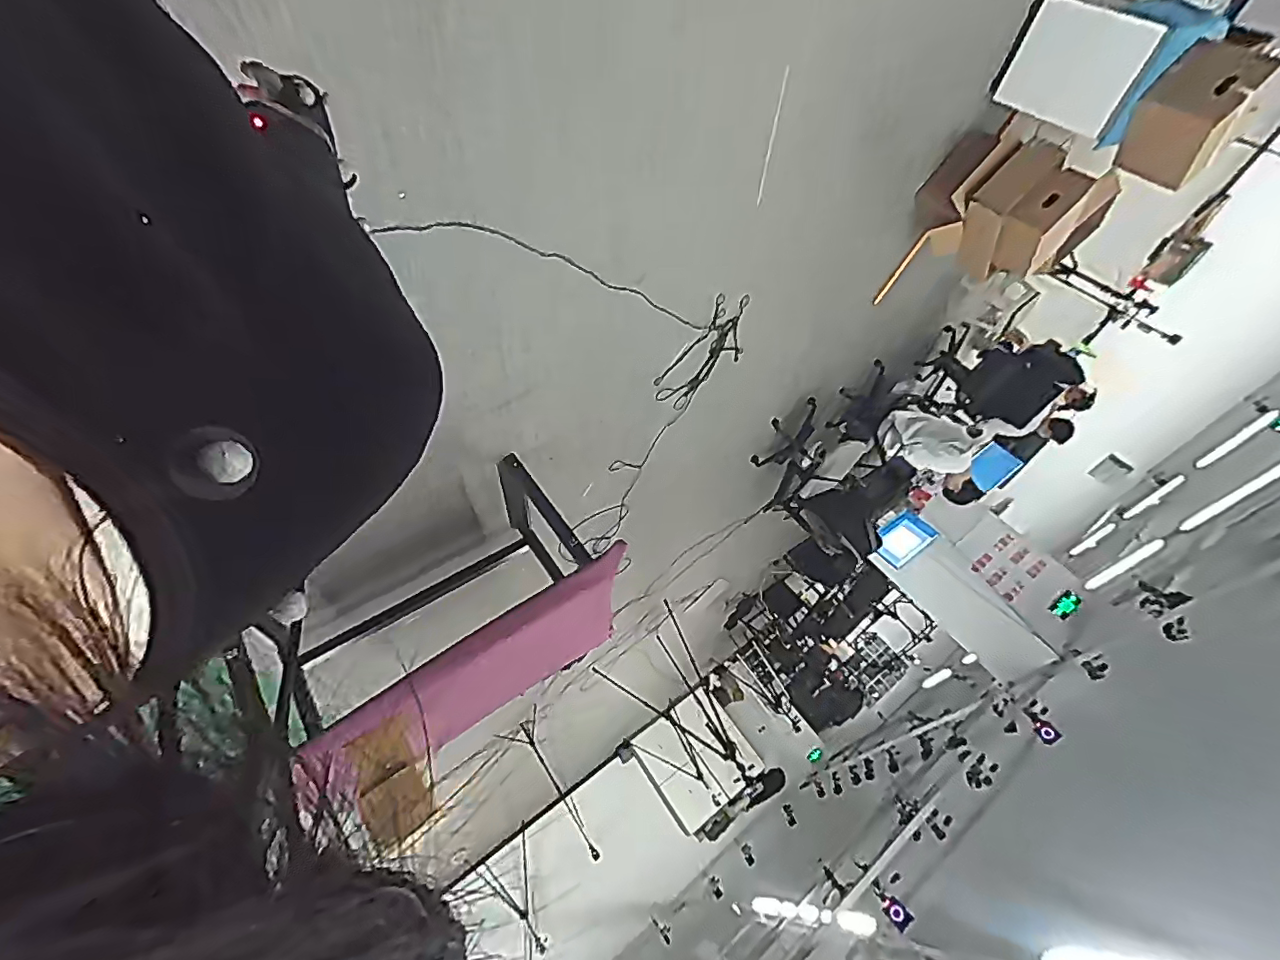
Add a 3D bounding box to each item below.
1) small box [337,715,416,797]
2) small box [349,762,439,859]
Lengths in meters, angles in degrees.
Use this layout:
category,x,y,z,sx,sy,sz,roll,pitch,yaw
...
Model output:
category,x,y,z,sx,sy,sz,roll,pitch,yaw
small box,-0.820,0.874,1.682,0.179,0.176,0.168,-25,150,-33
small box,-0.718,0.965,1.588,0.179,0.176,0.168,-27,151,-28
